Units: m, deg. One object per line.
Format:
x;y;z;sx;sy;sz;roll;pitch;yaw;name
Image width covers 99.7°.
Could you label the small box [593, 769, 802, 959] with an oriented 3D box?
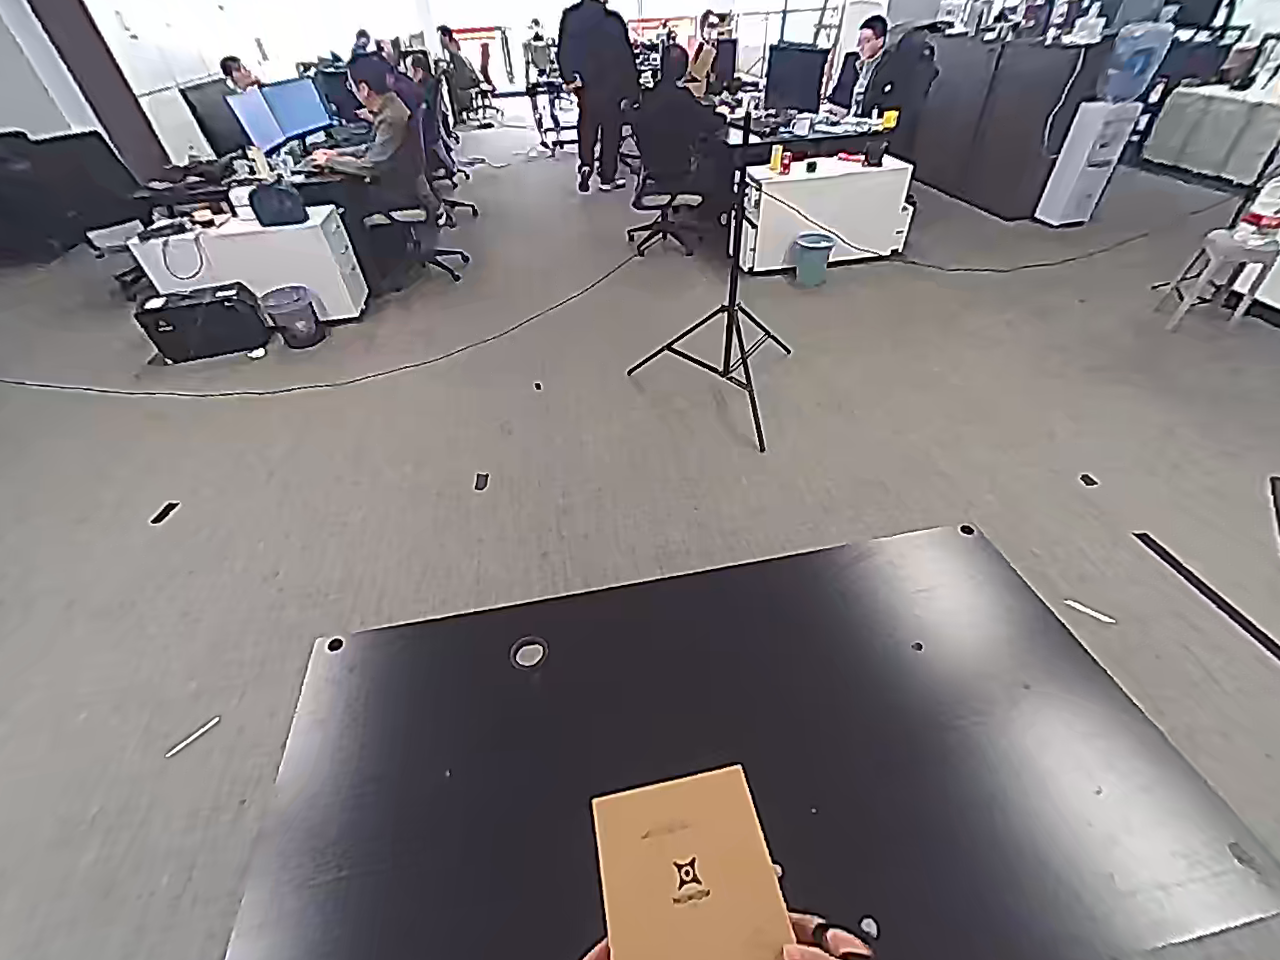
0.049;0.437;0.558;0.168;0.176;0.179;-9;41;-8;small box
